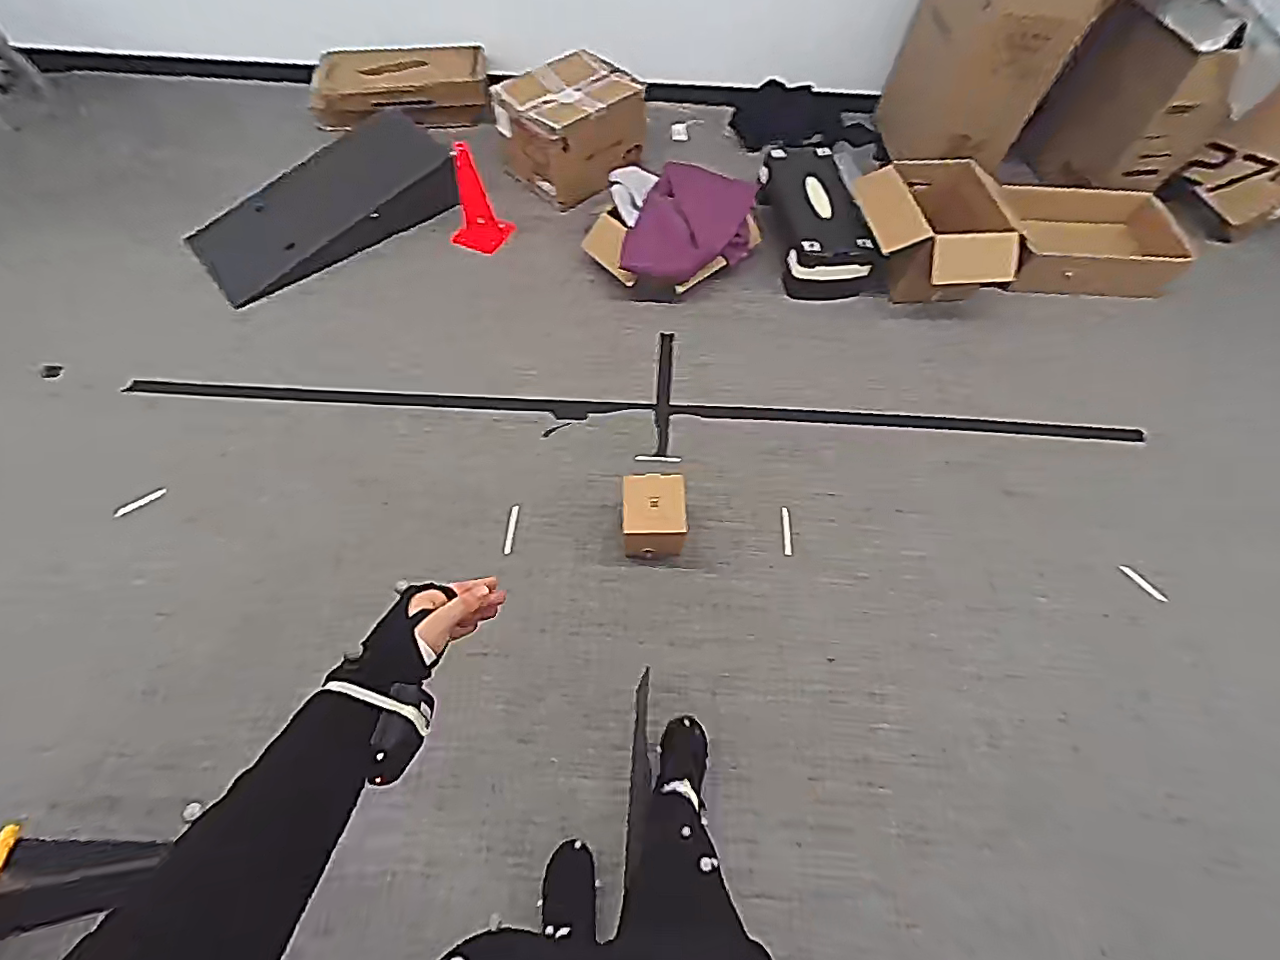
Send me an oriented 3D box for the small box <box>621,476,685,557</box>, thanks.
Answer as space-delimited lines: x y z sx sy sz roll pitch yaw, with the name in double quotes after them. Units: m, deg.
0.032 0.104 1.502 0.168 0.176 0.179 -2 62 -2 "small box"
